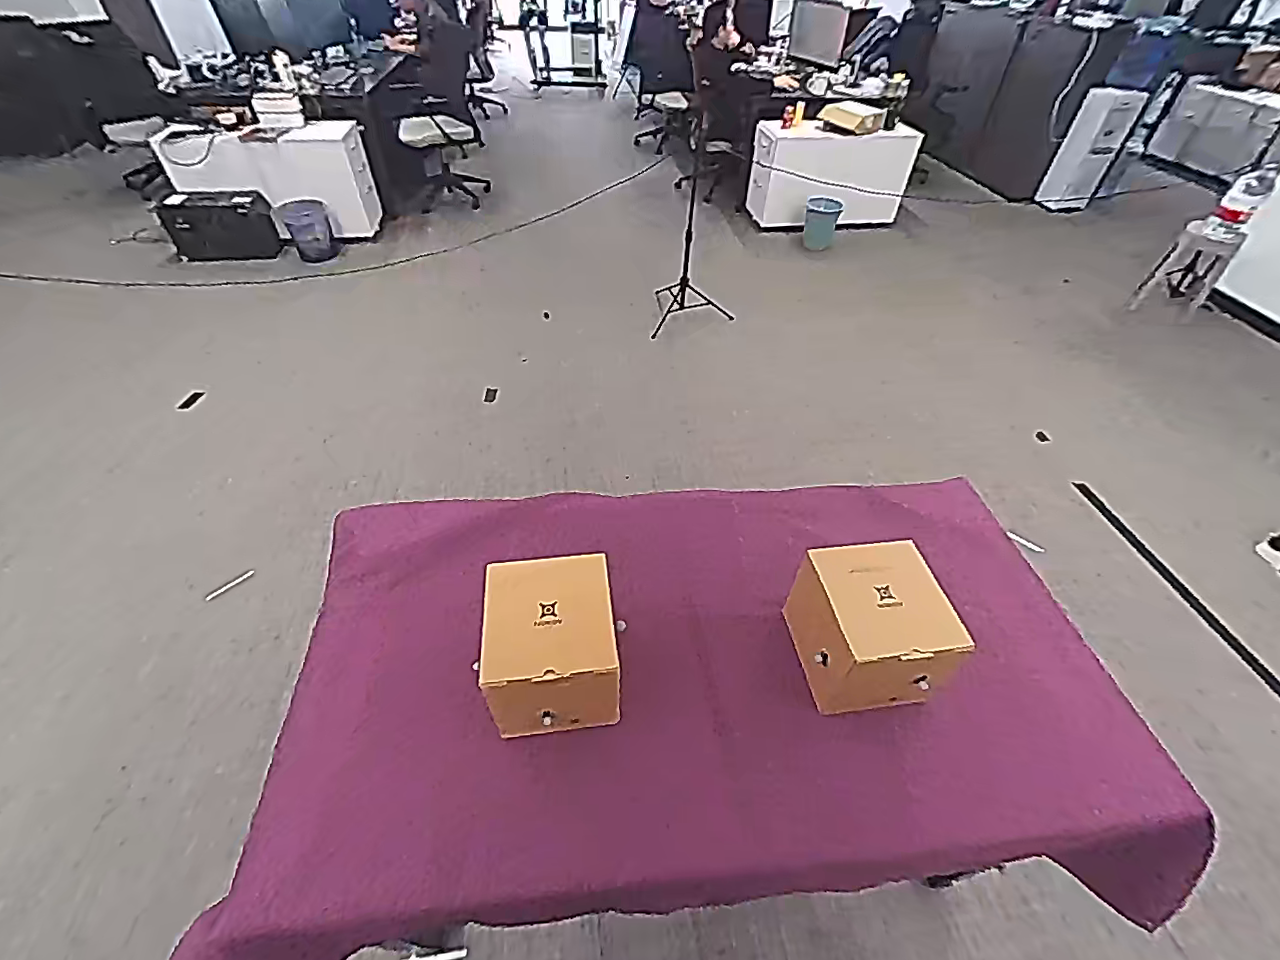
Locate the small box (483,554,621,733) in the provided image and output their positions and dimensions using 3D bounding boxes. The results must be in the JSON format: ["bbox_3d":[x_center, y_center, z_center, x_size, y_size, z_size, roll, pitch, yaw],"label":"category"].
[{"bbox_3d":[-0.119,0.227,0.756,0.168,0.176,0.179,-4,47,-7],"label":"small box"}]

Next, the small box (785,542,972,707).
[{"bbox_3d":[0.329,0.214,0.787,0.168,0.176,0.179,-4,46,-7],"label":"small box"}]
